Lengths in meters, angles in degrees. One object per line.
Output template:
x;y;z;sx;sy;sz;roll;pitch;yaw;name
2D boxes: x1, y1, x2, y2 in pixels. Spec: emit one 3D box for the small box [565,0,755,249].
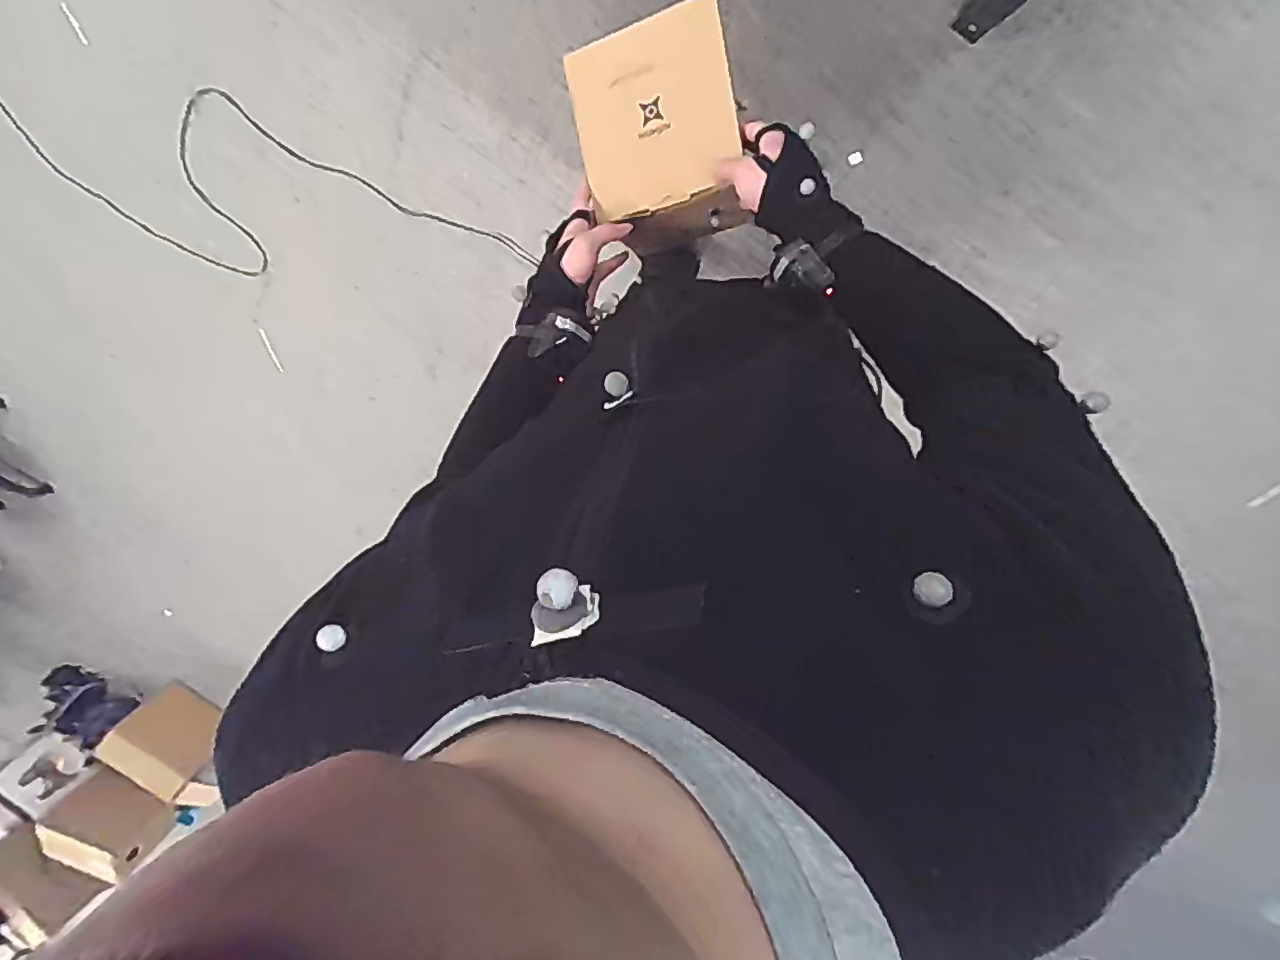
0.036;-0.390;0.639;0.168;0.176;0.179;-10;97;18;small box
